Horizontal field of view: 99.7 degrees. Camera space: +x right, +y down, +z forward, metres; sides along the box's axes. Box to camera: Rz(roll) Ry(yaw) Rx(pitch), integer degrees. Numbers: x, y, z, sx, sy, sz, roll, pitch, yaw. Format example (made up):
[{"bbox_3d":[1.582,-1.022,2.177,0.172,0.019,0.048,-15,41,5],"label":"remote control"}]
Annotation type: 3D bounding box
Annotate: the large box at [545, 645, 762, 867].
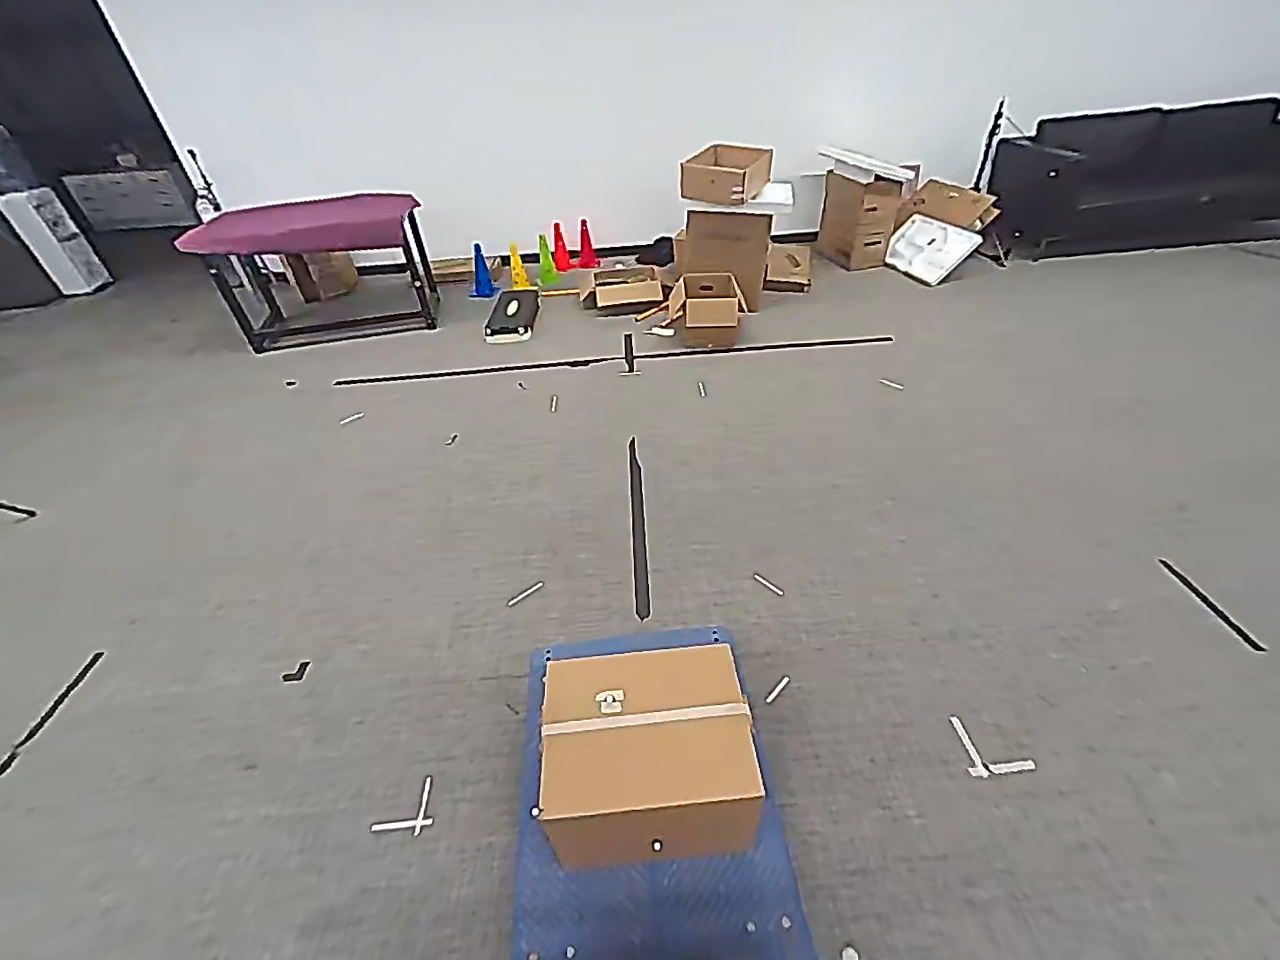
[{"bbox_3d":[0.024,0.602,1.182,0.408,0.320,0.320,-7,39,-1],"label":"large box"}]
